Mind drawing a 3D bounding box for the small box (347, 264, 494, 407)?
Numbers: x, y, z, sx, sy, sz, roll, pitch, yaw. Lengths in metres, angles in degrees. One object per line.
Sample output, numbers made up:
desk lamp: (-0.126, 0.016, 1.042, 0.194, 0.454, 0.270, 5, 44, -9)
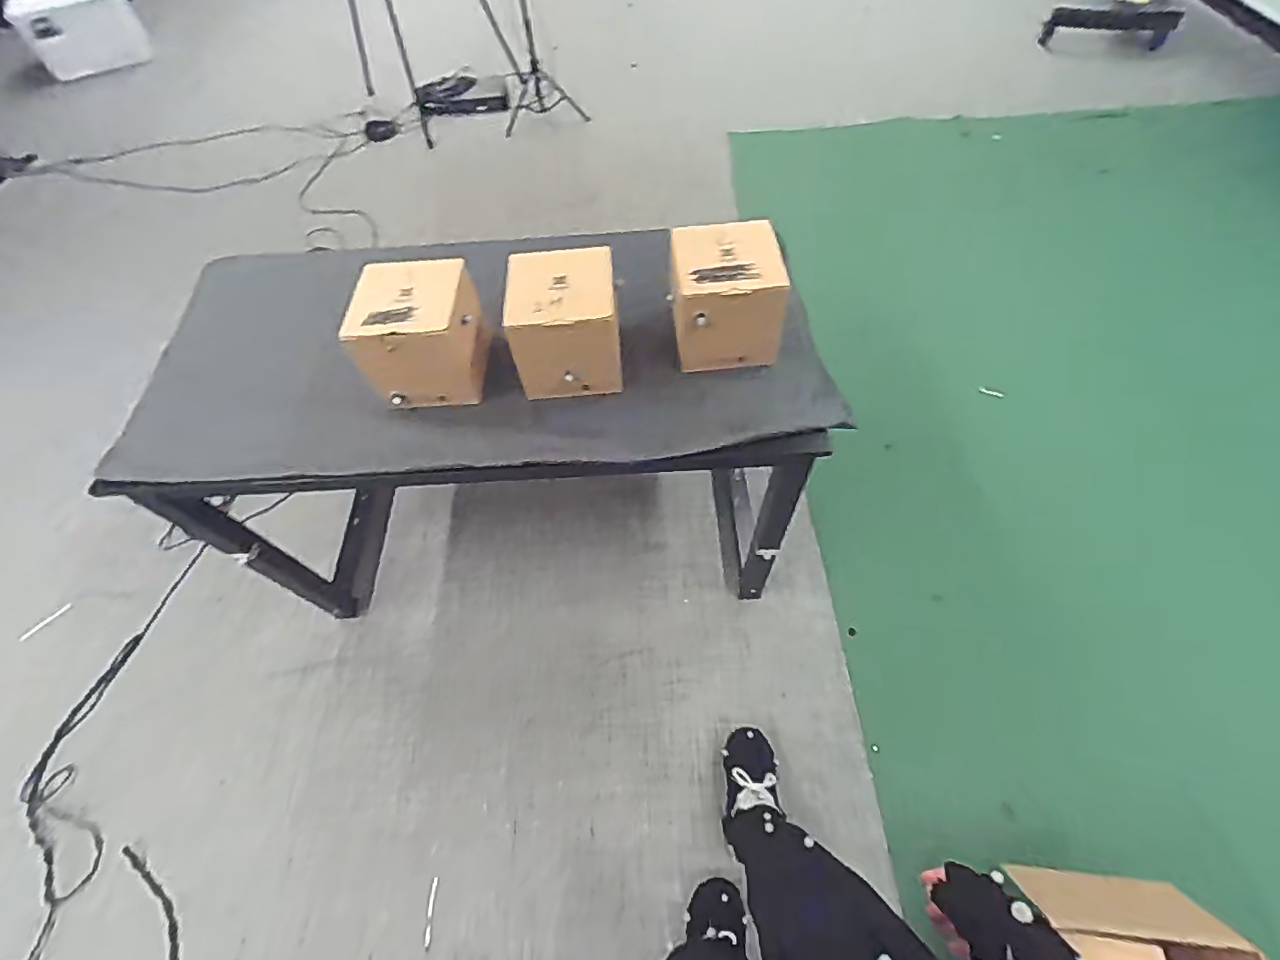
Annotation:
small box: (-0.356, -0.236, 0.917, 0.168, 0.176, 0.179, -3, 57, 1)

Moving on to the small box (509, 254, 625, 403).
small box: (-0.114, -0.253, 0.913, 0.168, 0.176, 0.179, -4, 57, 1)
